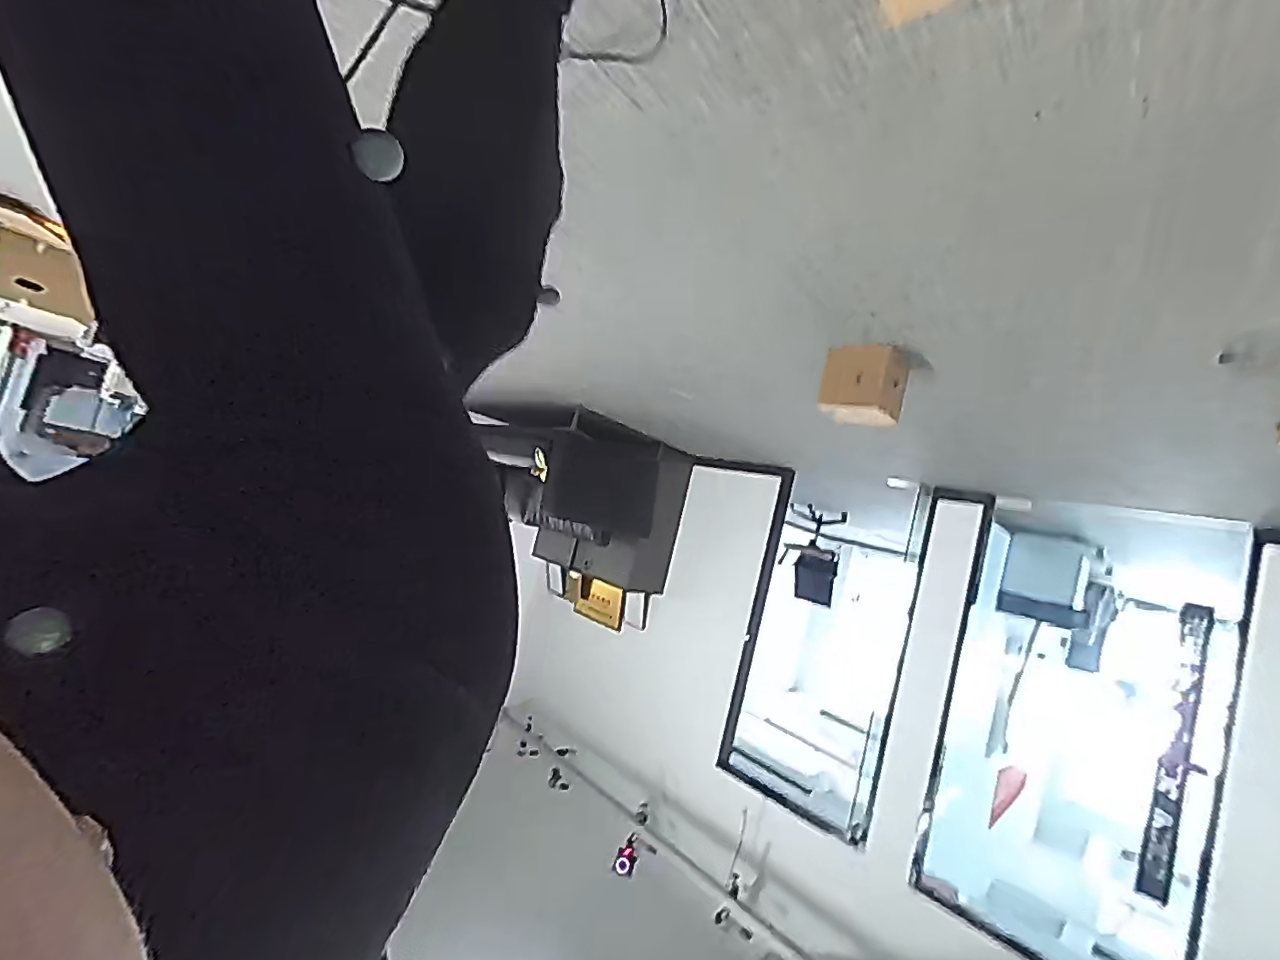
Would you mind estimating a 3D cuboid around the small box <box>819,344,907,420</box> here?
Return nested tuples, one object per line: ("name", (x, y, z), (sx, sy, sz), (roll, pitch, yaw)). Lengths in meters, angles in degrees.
("small box", (0.622, -0.270, 1.498), (0.179, 0.176, 0.168), (9, 174, 44))
